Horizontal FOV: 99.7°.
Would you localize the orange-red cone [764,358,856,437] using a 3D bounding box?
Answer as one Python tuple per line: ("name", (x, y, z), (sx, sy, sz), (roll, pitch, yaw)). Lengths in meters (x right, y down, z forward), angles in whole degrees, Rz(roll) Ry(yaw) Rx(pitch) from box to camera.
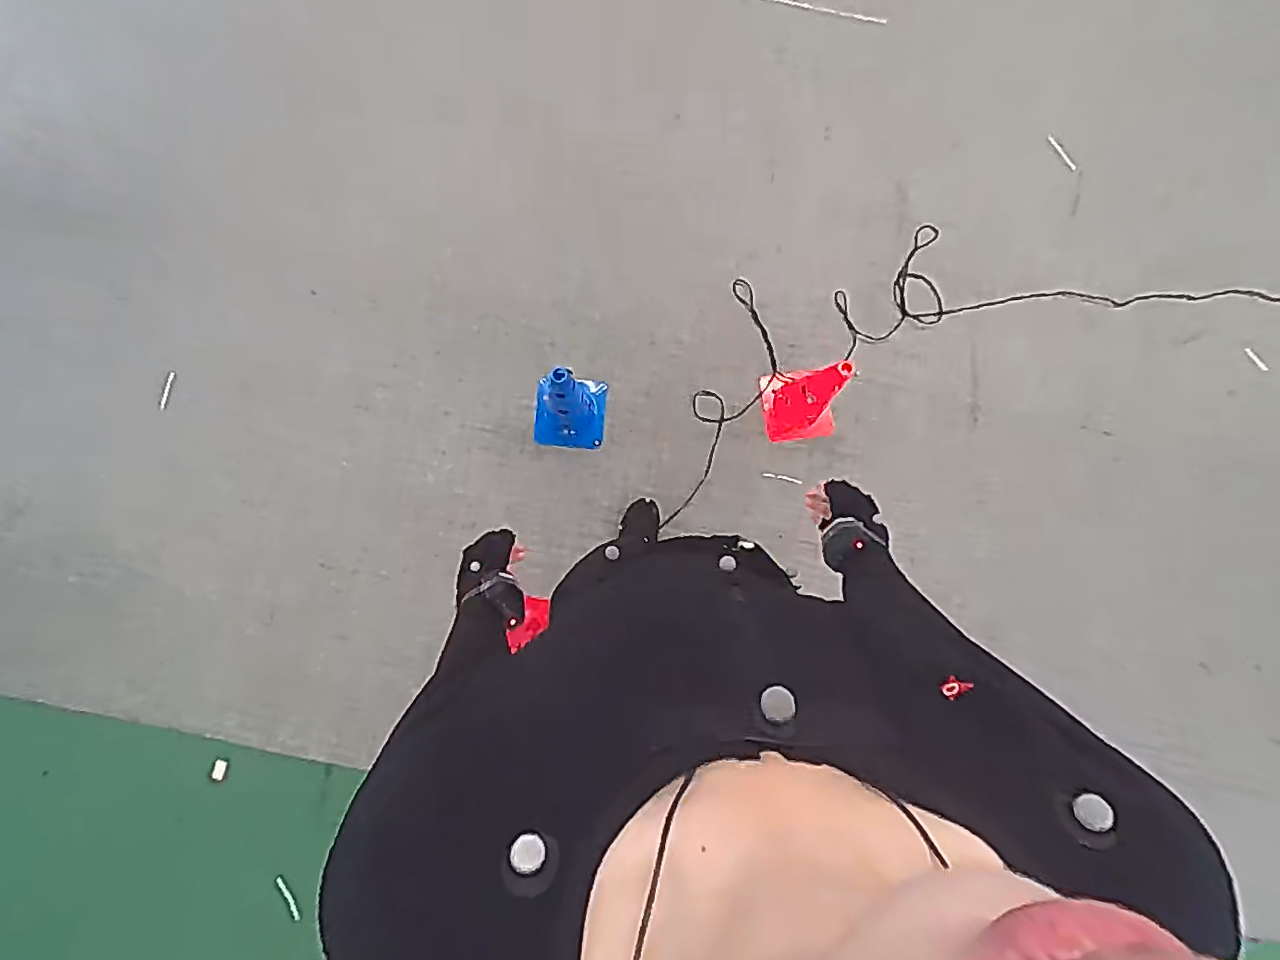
("orange-red cone", (0.470, -0.242, 1.401), (0.198, 0.360, 0.199), (-7, 86, -2))
